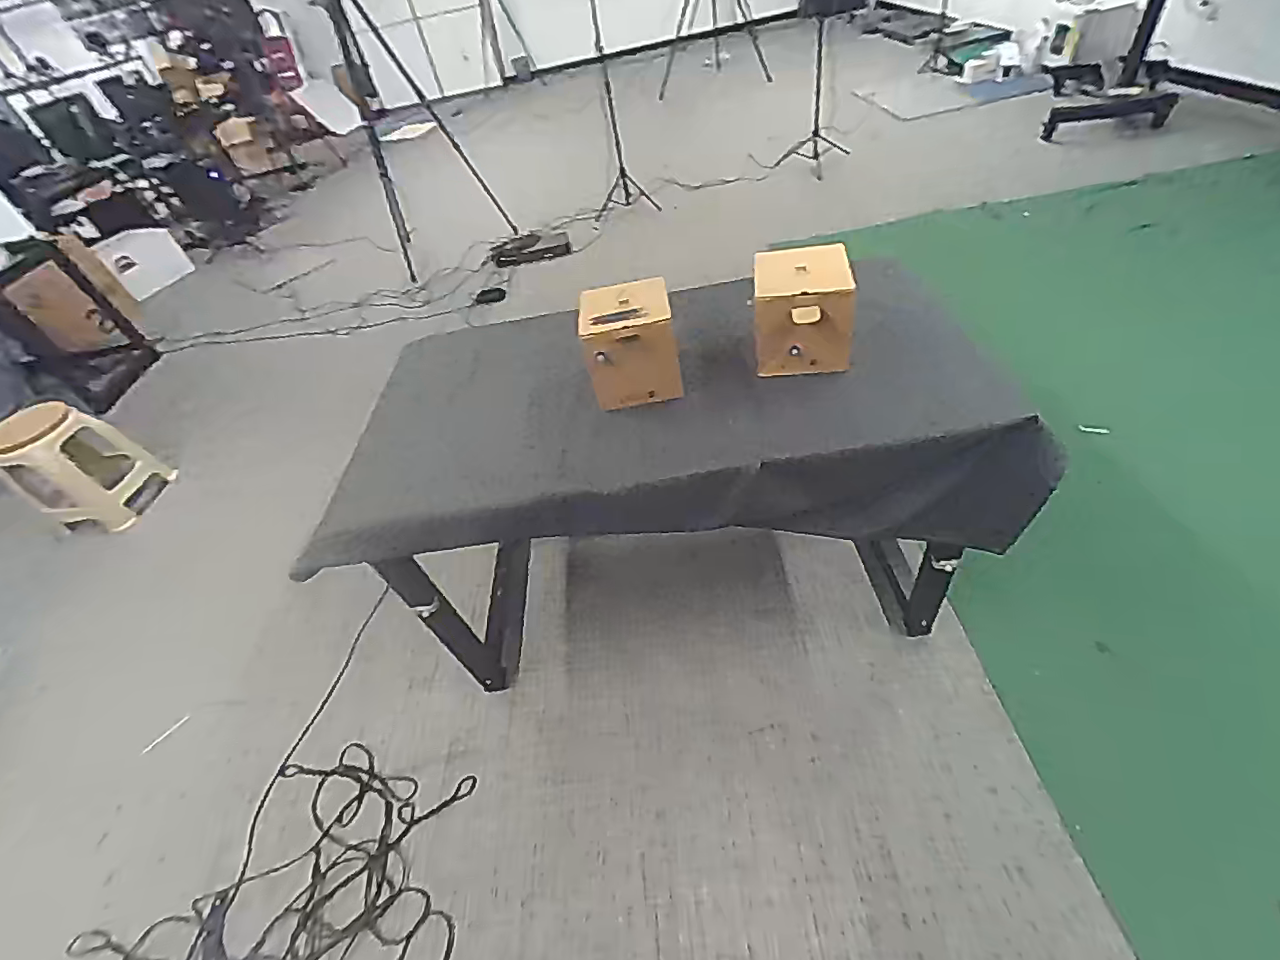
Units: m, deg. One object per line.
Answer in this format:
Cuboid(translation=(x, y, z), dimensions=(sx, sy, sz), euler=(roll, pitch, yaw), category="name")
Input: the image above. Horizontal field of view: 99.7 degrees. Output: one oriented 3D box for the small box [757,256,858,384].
Cuboid(translation=(0.309, -0.303, 1.031), dimensions=(0.168, 0.176, 0.179), euler=(-2, 46, 12), category="small box")
